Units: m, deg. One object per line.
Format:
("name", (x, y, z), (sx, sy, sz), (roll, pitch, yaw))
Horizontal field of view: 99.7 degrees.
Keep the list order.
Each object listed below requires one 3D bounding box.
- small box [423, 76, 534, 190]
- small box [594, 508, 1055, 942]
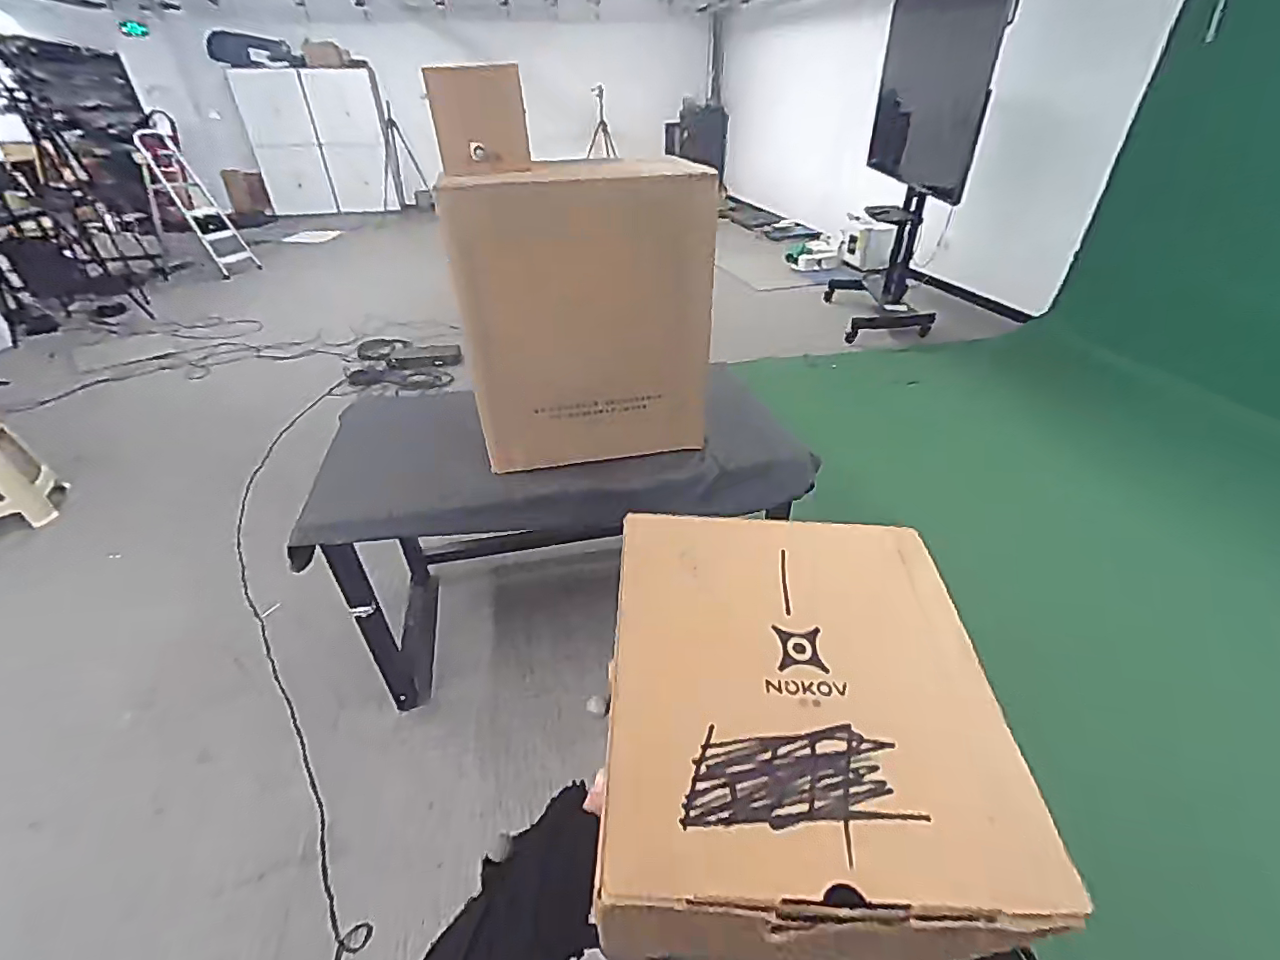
("small box", (-0.308, -0.670, 1.044), (0.168, 0.176, 0.179), (-14, 39, -11))
("small box", (0.067, 0.137, 0.304), (0.168, 0.176, 0.179), (2, 43, 0))
